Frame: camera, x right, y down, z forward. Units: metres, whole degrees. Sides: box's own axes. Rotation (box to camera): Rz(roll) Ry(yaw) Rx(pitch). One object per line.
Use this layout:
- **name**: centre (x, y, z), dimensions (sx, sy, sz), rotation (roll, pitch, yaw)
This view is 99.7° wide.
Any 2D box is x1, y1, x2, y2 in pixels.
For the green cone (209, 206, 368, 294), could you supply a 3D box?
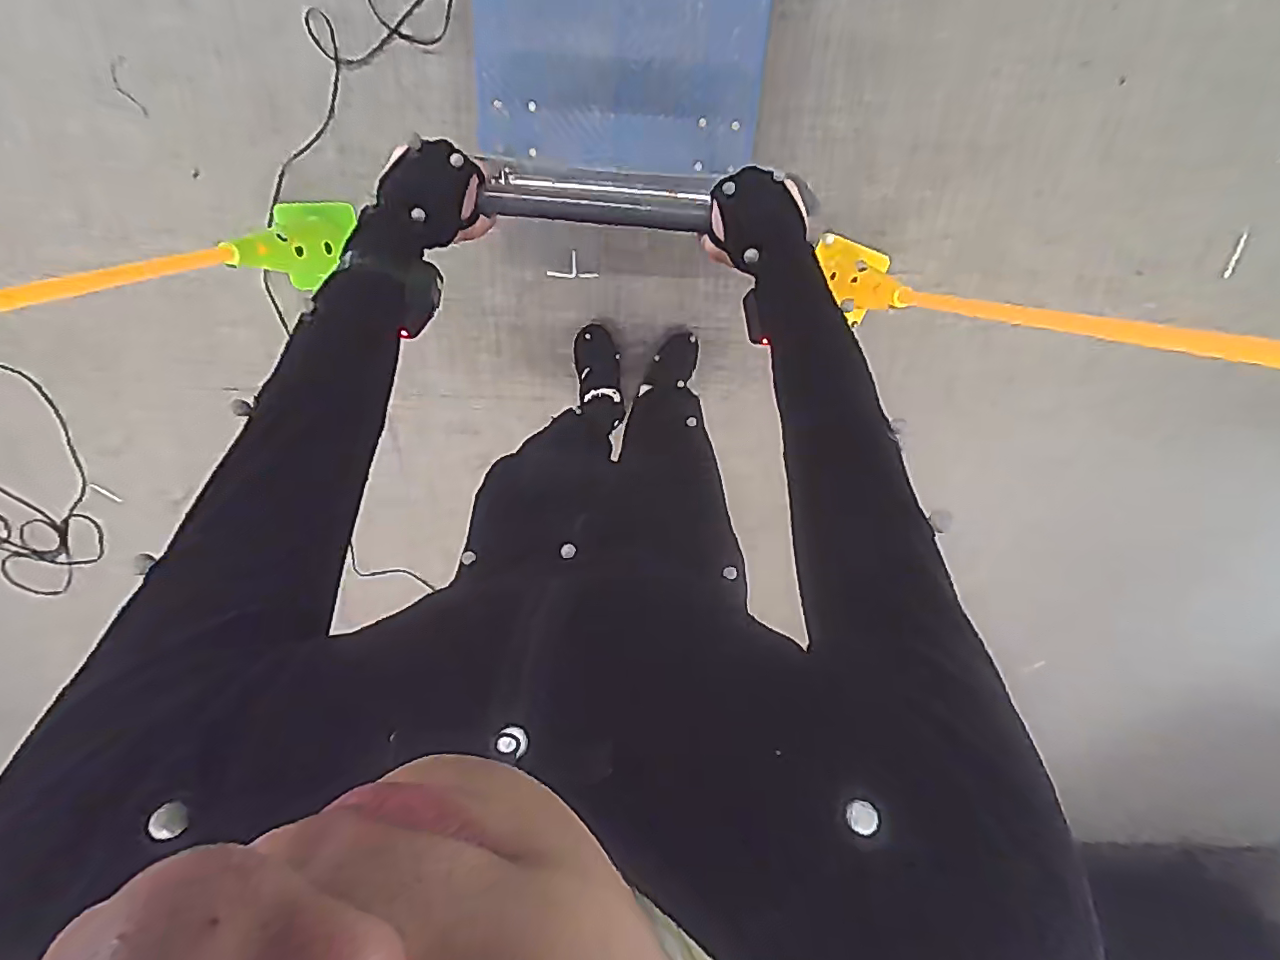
- **green cone**: centre (-0.803, -0.506, 1.203), dimensions (0.202, 0.368, 0.200), rotation (-1, 114, 1)
